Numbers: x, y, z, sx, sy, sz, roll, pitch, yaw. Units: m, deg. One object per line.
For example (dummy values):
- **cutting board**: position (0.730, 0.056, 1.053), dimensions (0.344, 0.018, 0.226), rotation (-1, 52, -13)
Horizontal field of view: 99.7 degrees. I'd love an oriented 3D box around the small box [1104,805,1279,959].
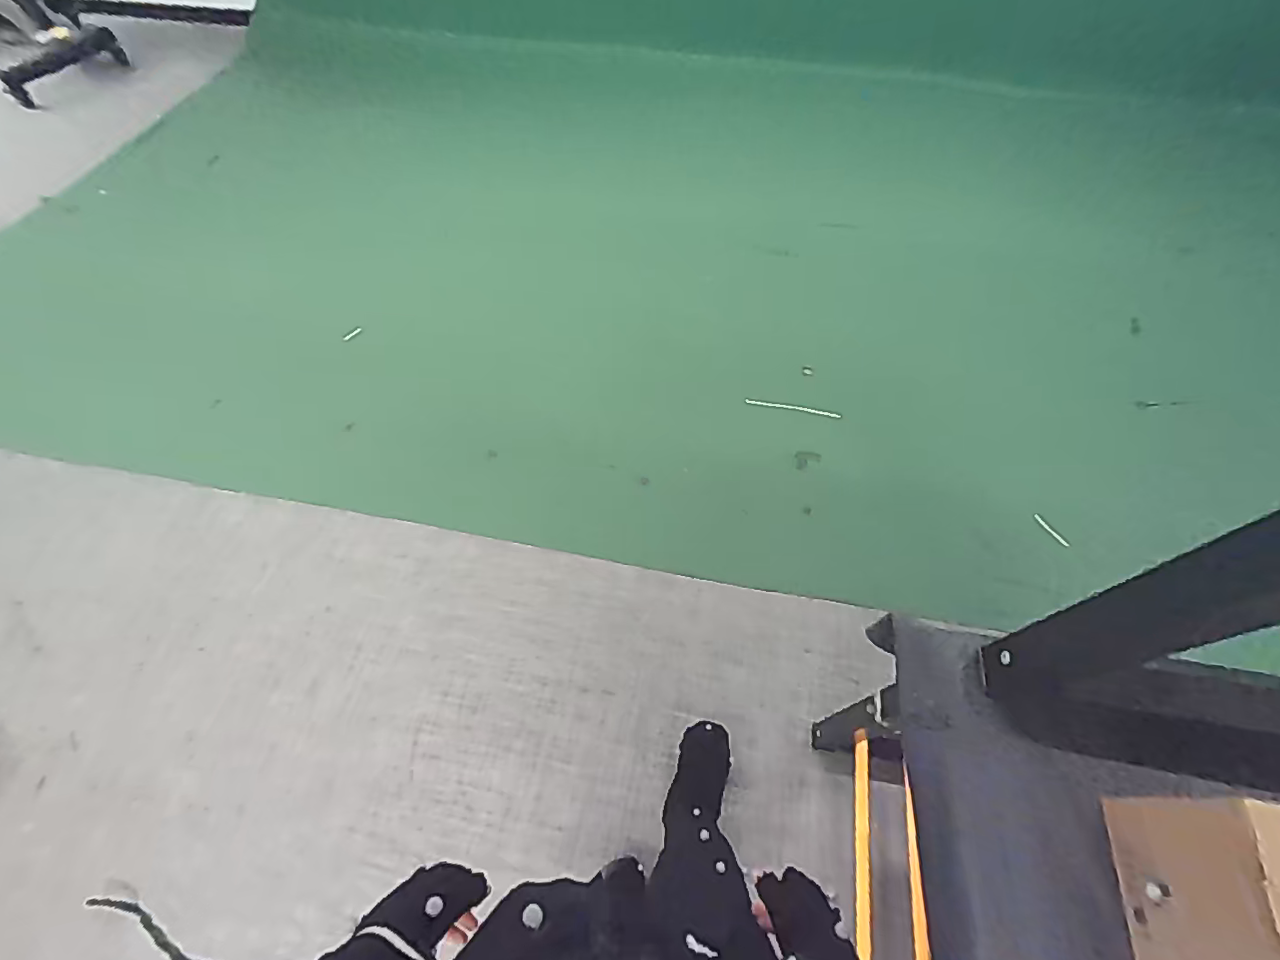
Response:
- **small box**: position (0.582, 0.401, 0.485), dimensions (0.179, 0.176, 0.168), rotation (9, 59, 6)
